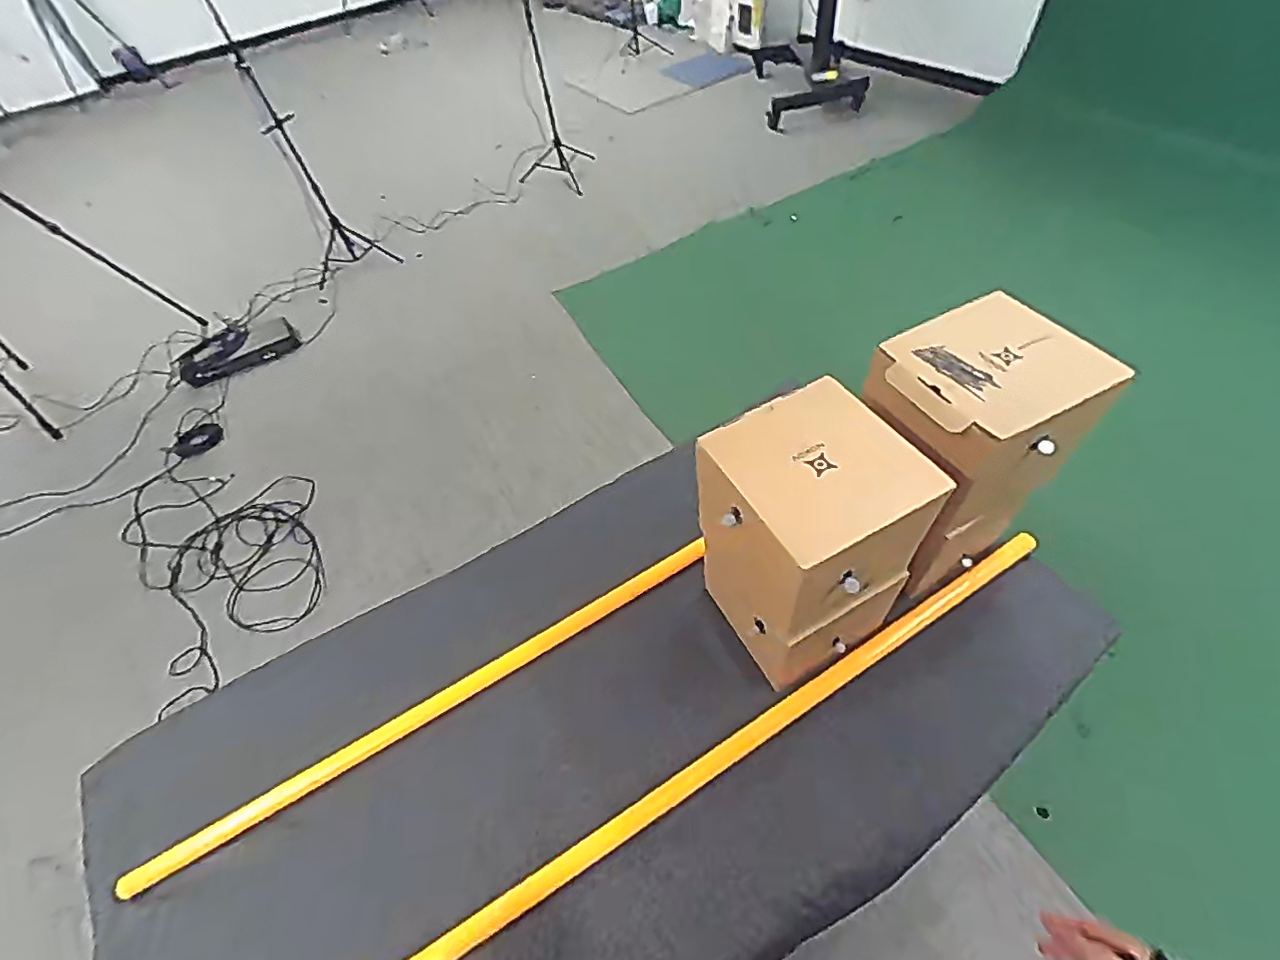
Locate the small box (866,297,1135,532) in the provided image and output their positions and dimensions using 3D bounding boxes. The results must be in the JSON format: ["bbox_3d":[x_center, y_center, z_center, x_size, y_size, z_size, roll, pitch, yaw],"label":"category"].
[{"bbox_3d":[0.376,-0.069,0.613,0.179,0.176,0.168,-24,54,-11],"label":"small box"}]

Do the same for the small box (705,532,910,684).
[{"bbox_3d":[0.199,0.137,0.690,0.168,0.176,0.179,-26,53,-12],"label":"small box"}]

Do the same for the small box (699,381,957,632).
[{"bbox_3d":[0.178,0.036,0.565,0.168,0.176,0.179,-26,53,-11],"label":"small box"}]
